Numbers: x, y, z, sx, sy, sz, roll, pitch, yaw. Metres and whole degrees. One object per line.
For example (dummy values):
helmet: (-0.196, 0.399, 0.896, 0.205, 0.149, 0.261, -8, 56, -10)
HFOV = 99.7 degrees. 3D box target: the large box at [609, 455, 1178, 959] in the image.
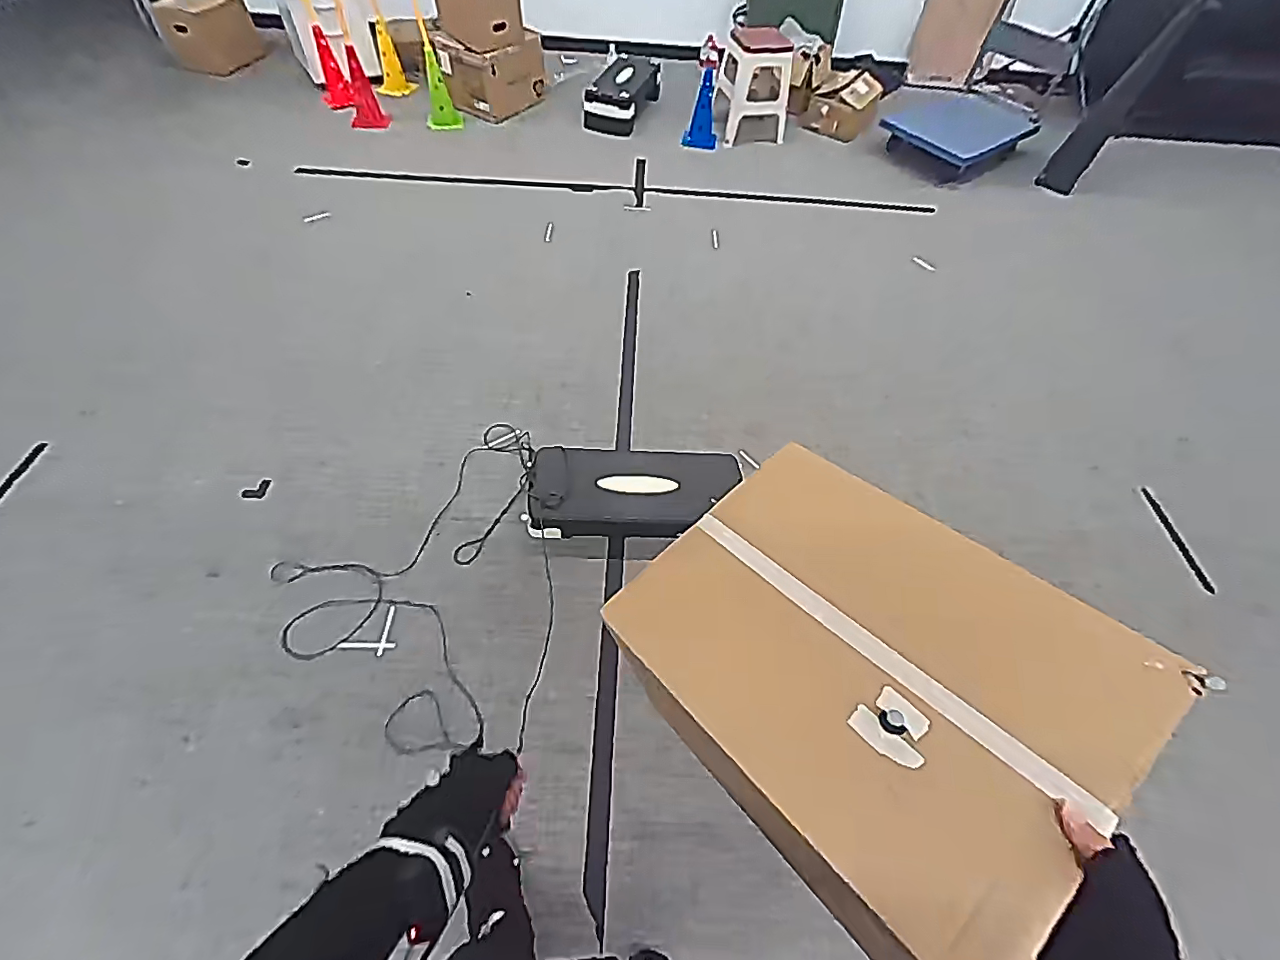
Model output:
large box: (0.231, 0.245, 0.620, 0.320, 0.320, 0.408, -39, 51, -17)
